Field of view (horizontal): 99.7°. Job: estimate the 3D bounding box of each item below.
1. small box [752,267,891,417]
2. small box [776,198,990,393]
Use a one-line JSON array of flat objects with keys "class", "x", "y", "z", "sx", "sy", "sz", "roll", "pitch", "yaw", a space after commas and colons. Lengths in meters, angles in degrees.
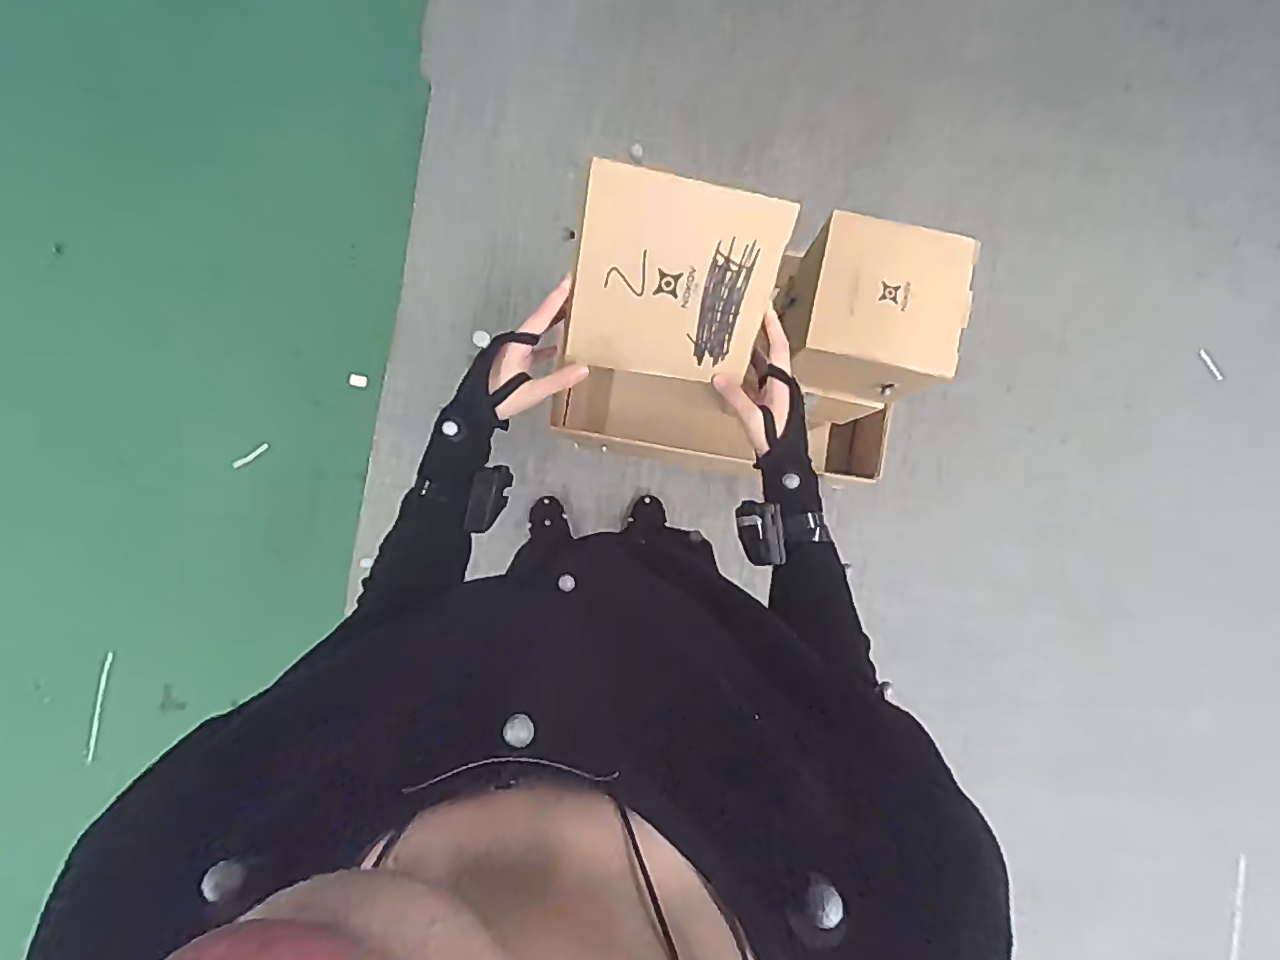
[{"class": "small box", "x": 0.285, "y": -0.203, "z": 0.843, "sx": 0.179, "sy": 0.176, "sz": 0.168, "roll": 13, "pitch": 89, "yaw": 1}, {"class": "small box", "x": 0.289, "y": -0.215, "z": 0.680, "sx": 0.179, "sy": 0.176, "sz": 0.168, "roll": 13, "pitch": 88, "yaw": 2}]
